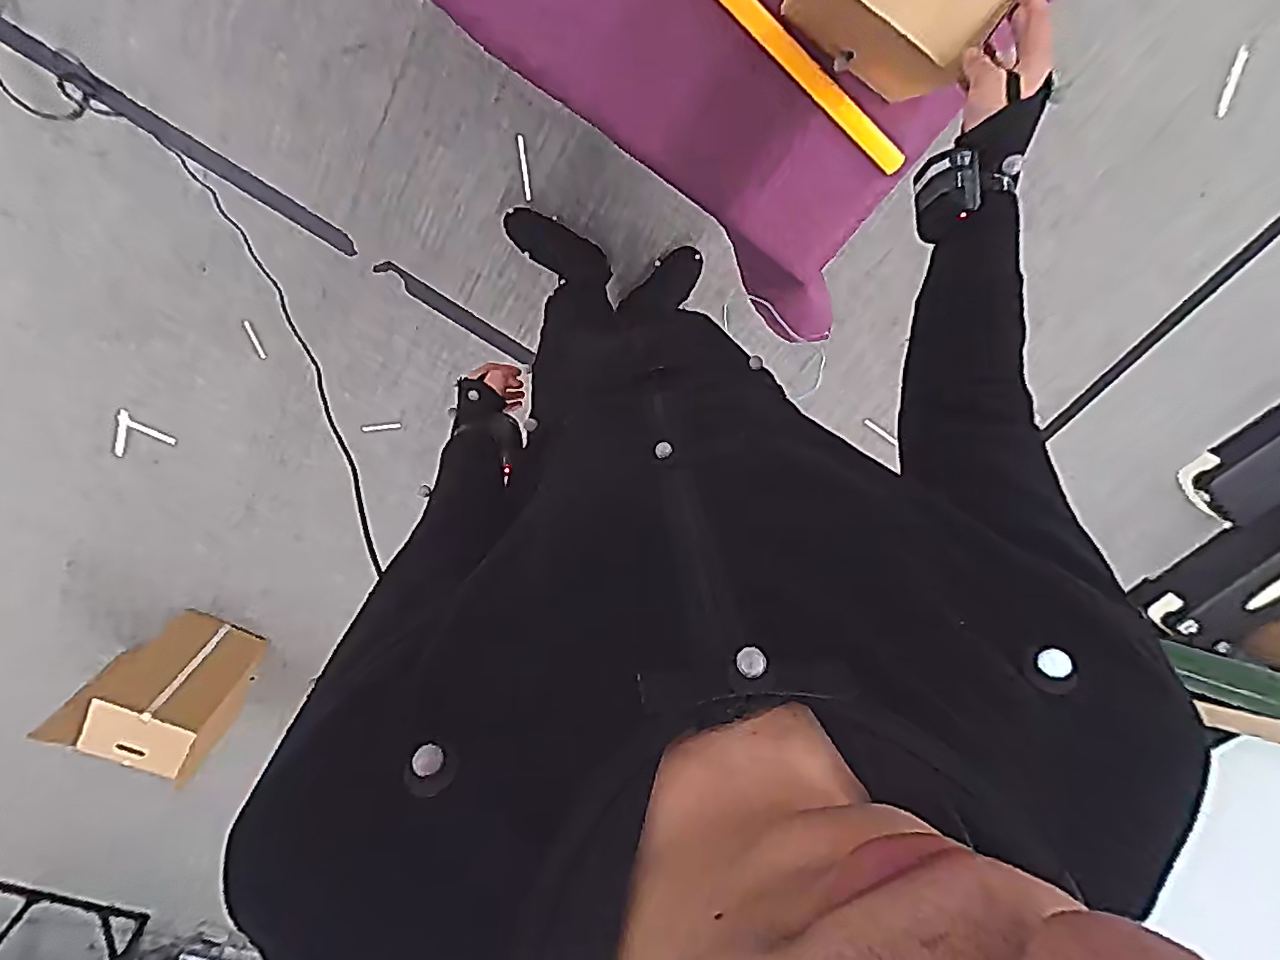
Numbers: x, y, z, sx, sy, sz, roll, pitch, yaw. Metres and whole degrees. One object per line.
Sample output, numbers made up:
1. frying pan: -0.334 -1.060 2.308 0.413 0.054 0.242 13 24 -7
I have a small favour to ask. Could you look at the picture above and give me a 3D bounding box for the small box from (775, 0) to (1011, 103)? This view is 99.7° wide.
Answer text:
1. small box: 0.266 -0.517 0.548 0.179 0.176 0.168 27 117 -14
